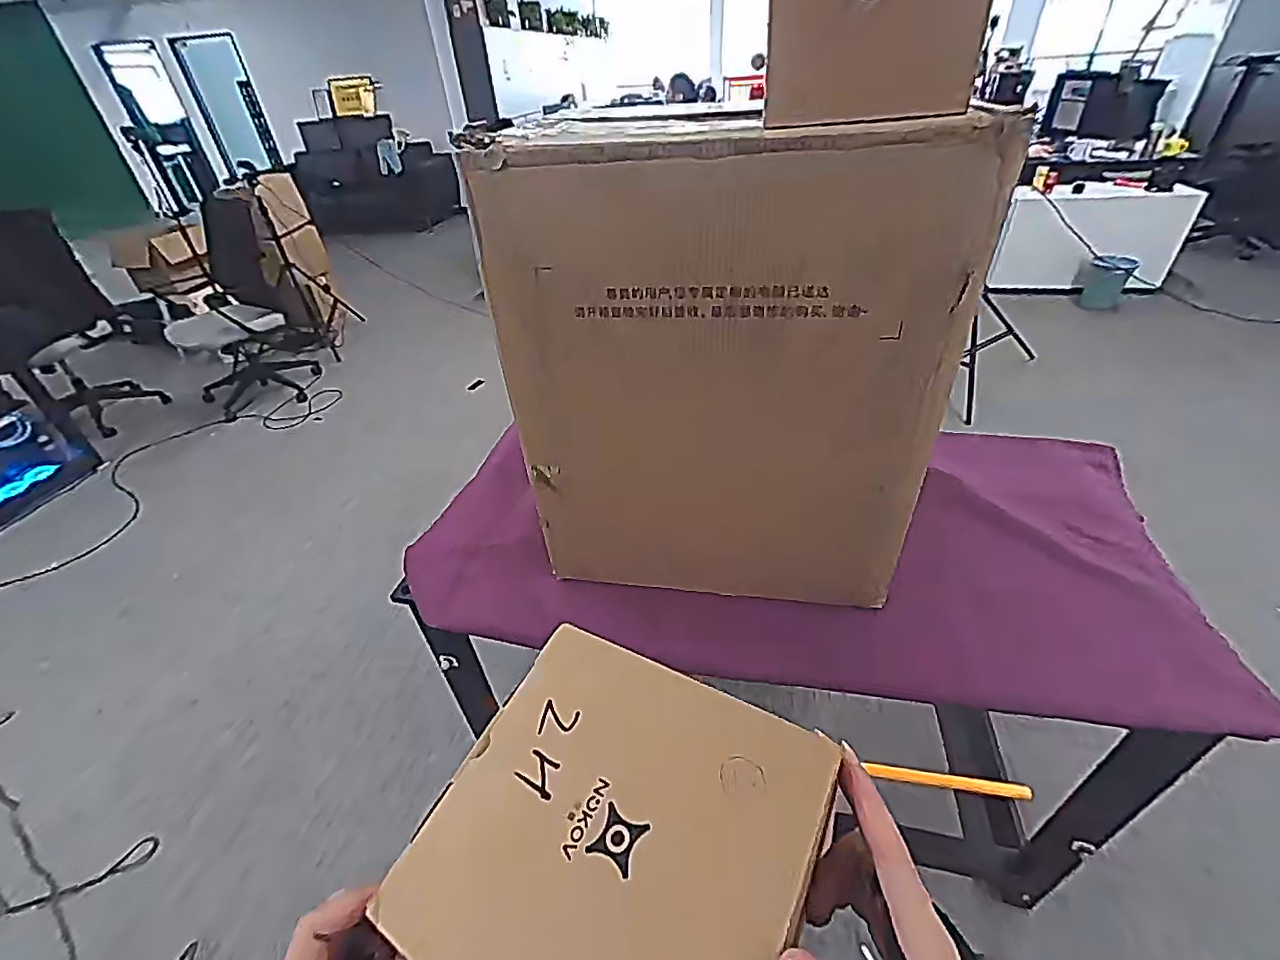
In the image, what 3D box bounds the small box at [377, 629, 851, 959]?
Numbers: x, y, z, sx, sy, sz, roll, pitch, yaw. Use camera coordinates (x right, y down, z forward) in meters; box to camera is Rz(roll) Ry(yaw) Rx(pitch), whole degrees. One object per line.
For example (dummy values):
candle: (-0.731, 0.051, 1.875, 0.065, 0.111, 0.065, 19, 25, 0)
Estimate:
small box: (0.004, 0.223, 0.309, 0.179, 0.176, 0.168, 15, 50, 29)
